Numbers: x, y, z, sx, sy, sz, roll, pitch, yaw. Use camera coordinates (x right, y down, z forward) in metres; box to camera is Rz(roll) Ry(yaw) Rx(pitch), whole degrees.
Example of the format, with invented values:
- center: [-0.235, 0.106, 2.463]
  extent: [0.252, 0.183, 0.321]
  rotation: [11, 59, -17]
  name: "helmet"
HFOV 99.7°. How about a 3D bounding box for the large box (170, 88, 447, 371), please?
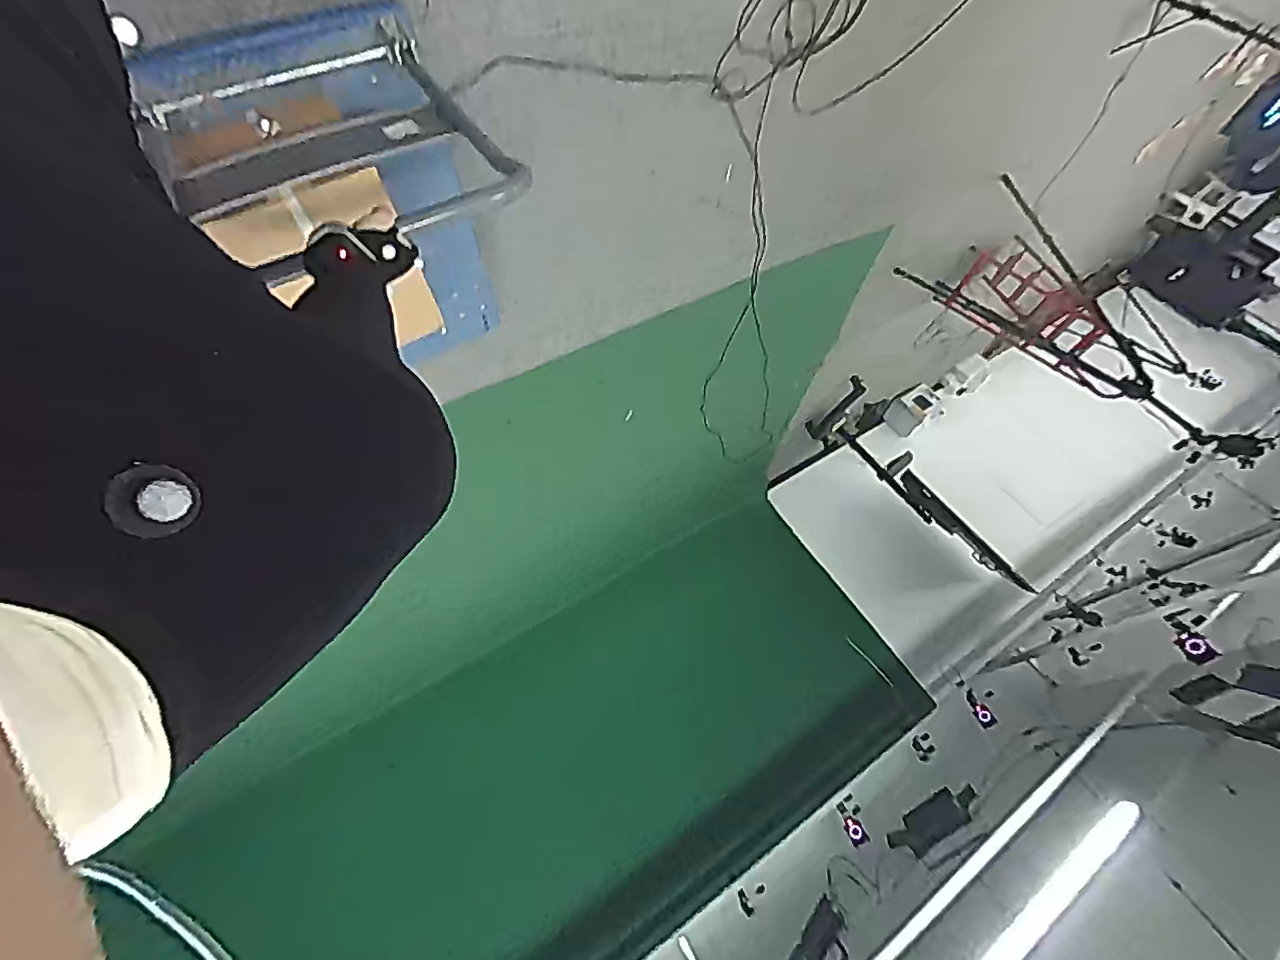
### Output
- center: [-0.684, -0.524, 1.172]
  extent: [0.320, 0.320, 0.408]
  rotation: [-29, 156, -14]
  name: "large box"
